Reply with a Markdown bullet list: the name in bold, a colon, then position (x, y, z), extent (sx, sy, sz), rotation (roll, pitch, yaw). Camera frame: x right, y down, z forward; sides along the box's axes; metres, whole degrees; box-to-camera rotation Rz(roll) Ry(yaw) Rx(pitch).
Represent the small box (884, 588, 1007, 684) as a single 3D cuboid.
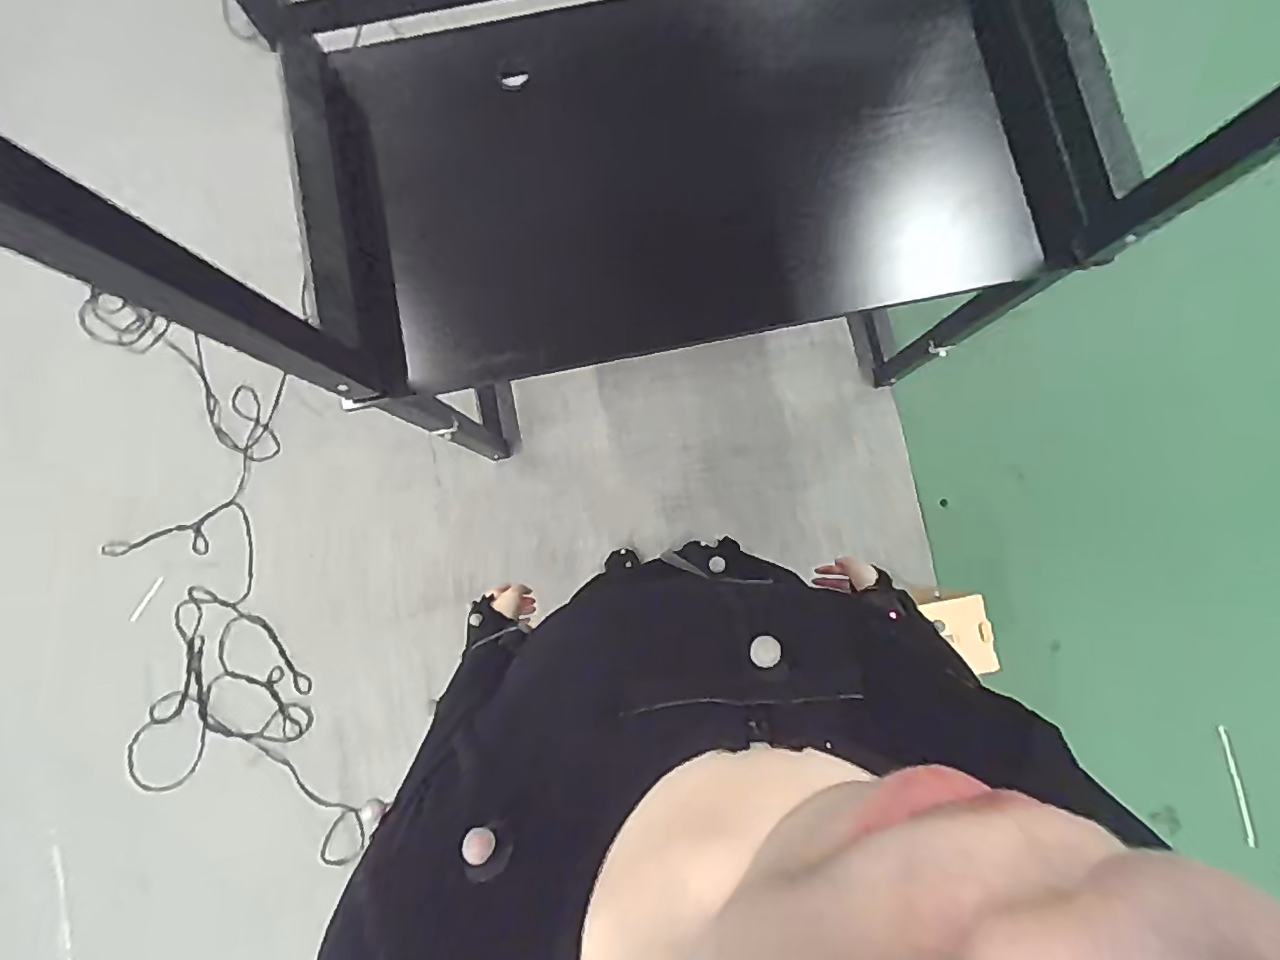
- **small box**: position (0.679, 0.347, 1.229), extent (0.179, 0.176, 0.168), rotation (-11, 84, -1)
